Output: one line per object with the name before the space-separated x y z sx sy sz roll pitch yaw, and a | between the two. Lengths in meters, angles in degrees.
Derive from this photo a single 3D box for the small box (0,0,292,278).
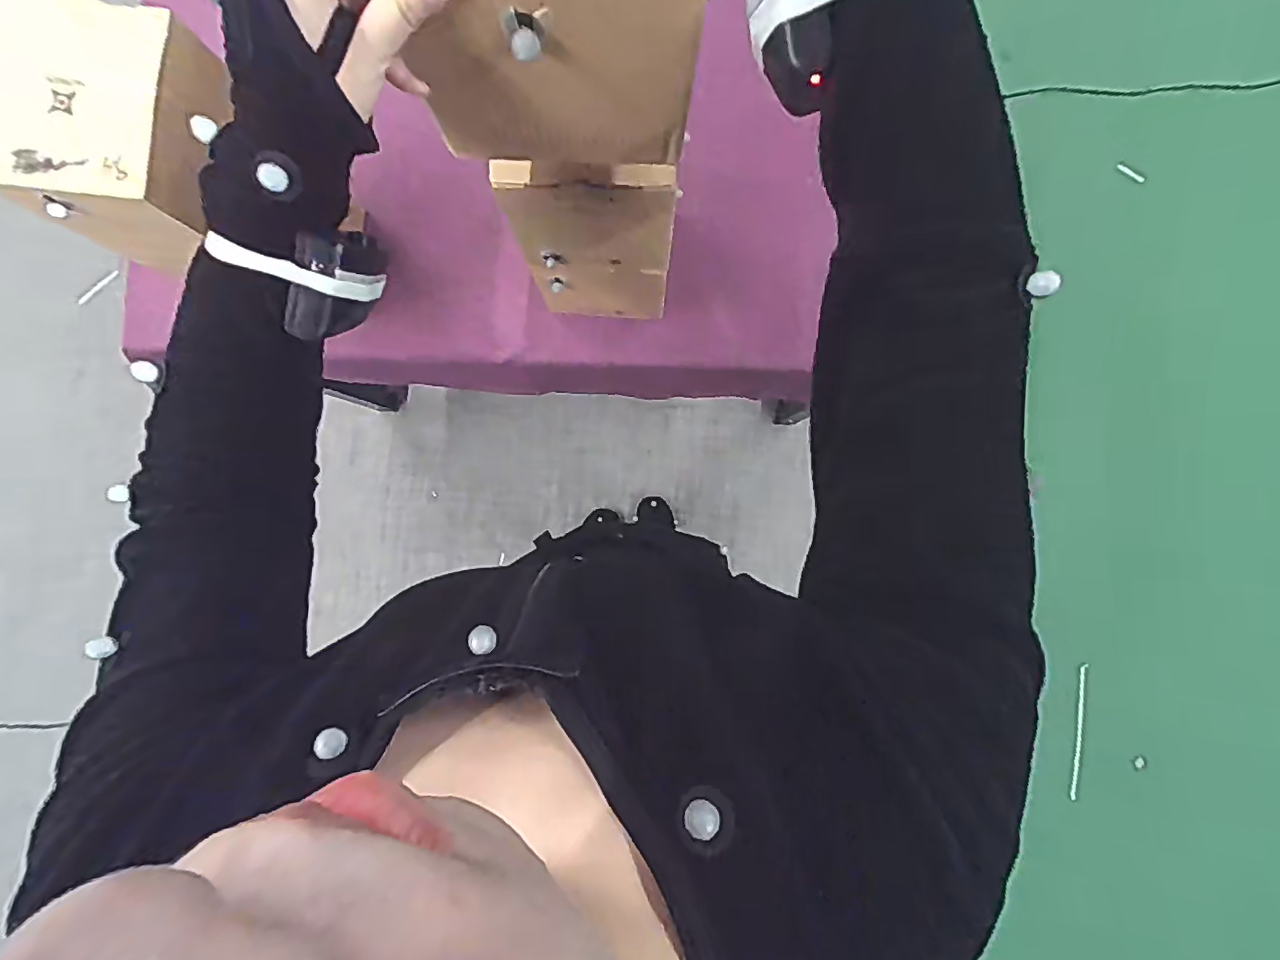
small box | -0.498 -0.336 0.559 0.168 0.176 0.179 7 87 2

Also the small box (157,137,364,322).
small box | -0.497 -0.331 0.724 0.168 0.176 0.179 7 89 1

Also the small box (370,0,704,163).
small box | -0.051 -0.326 0.338 0.179 0.176 0.168 1 91 1

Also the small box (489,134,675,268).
small box | -0.048 -0.336 0.557 0.168 0.176 0.179 2 87 0
